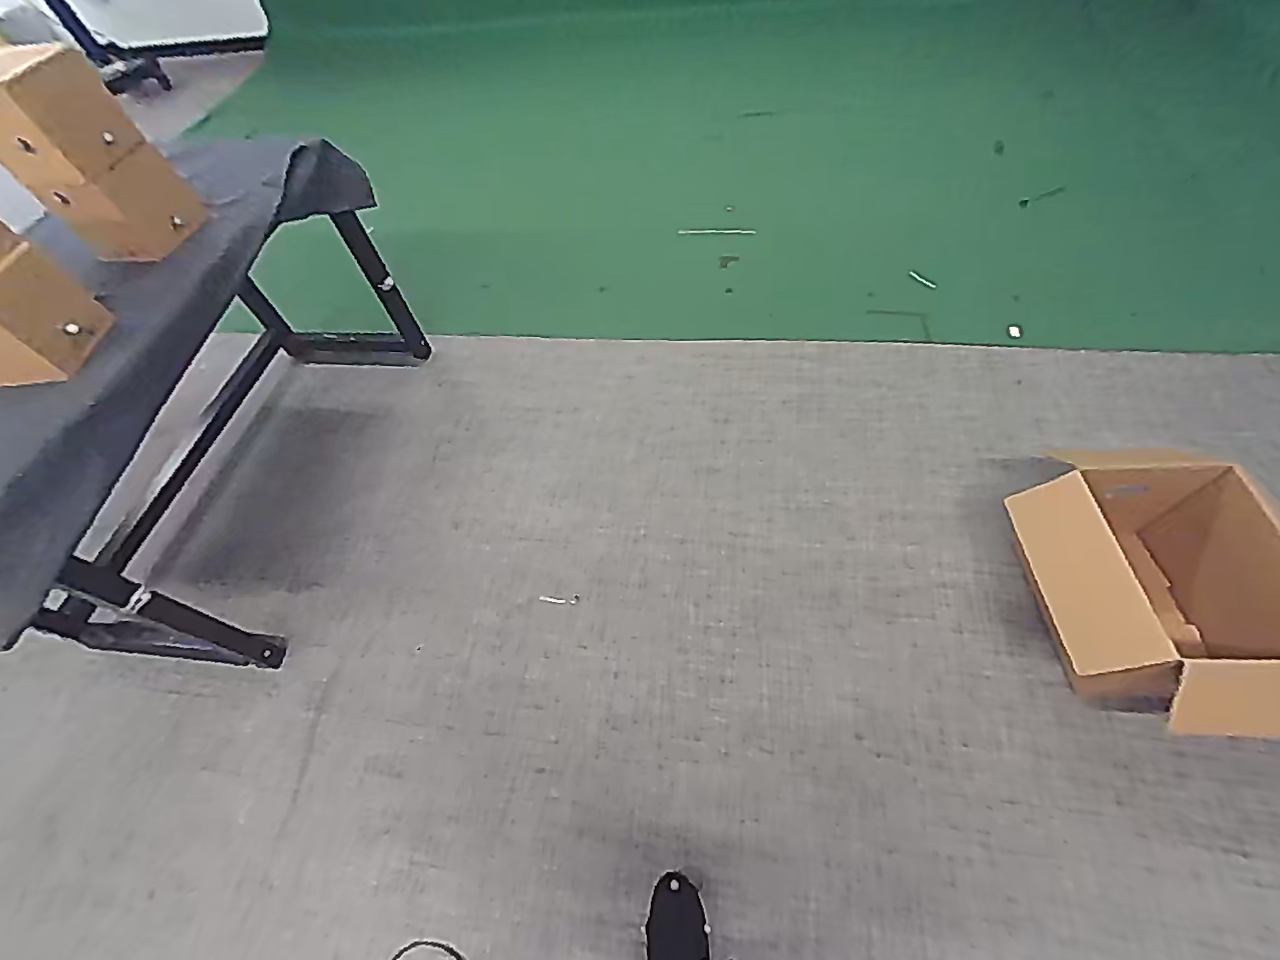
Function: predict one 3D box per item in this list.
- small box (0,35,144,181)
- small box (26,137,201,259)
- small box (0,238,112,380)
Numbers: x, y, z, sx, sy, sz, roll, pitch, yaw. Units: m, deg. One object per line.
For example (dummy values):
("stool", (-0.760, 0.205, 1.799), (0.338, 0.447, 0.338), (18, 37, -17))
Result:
("small box", (-1.107, -0.685, 0.999), (0.168, 0.176, 0.179), (5, 57, 10))
("small box", (-1.089, -0.594, 1.140), (0.168, 0.176, 0.179), (4, 57, 9))
("small box", (-1.106, -0.290, 0.940), (0.179, 0.176, 0.168), (-5, 56, 3))
